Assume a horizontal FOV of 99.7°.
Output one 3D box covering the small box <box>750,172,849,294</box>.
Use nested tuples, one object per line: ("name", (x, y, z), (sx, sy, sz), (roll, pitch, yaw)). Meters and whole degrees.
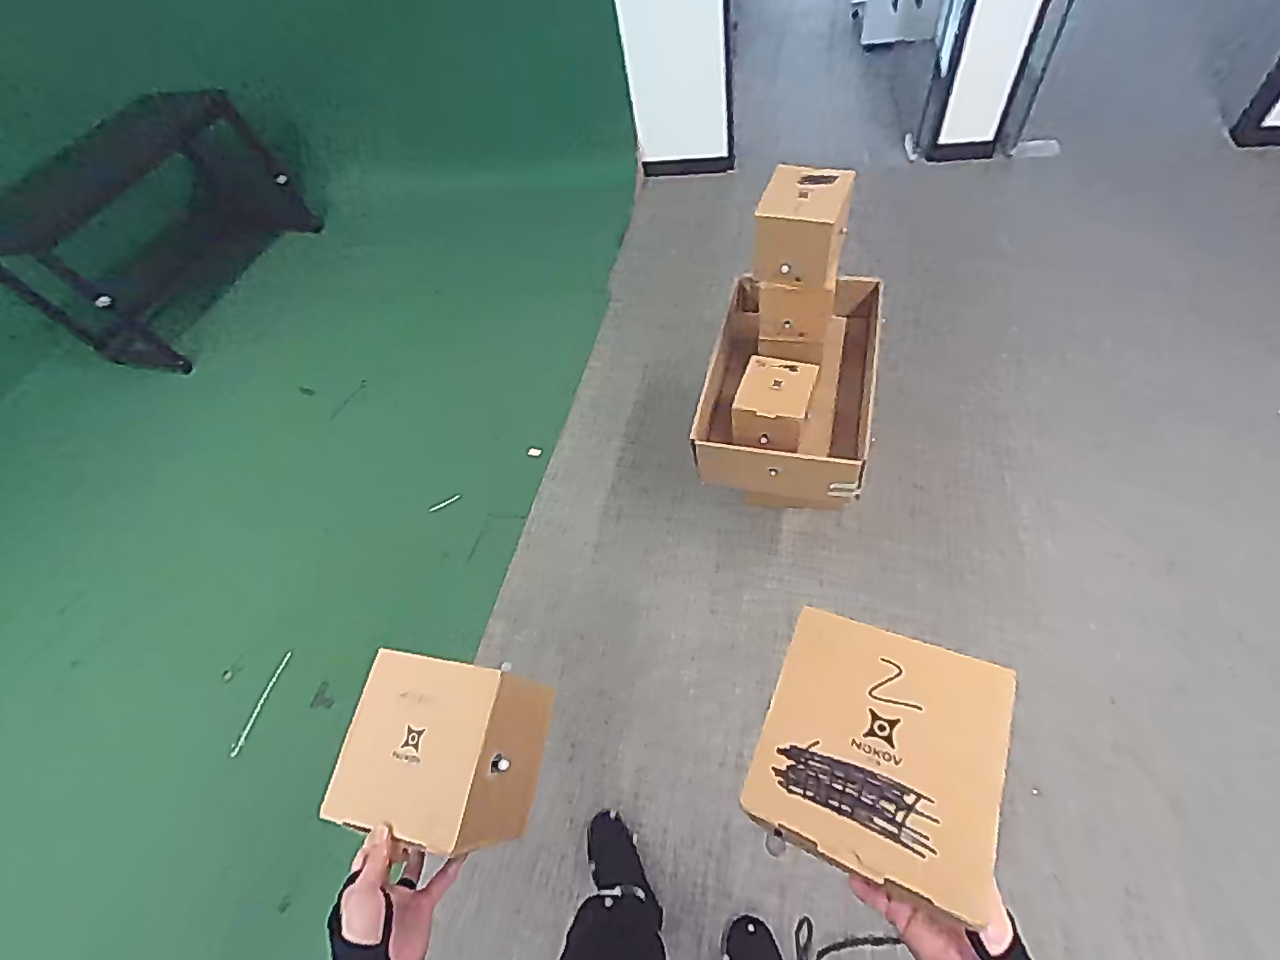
("small box", (0.346, -0.543, 1.192), (0.168, 0.176, 0.179), (16, 64, 20))

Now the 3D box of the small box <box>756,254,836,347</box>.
("small box", (0.378, -0.453, 1.326), (0.168, 0.176, 0.179), (7, 61, 16))

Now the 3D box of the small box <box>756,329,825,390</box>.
("small box", (0.407, -0.370, 1.462), (0.168, 0.176, 0.179), (7, 61, 17))
